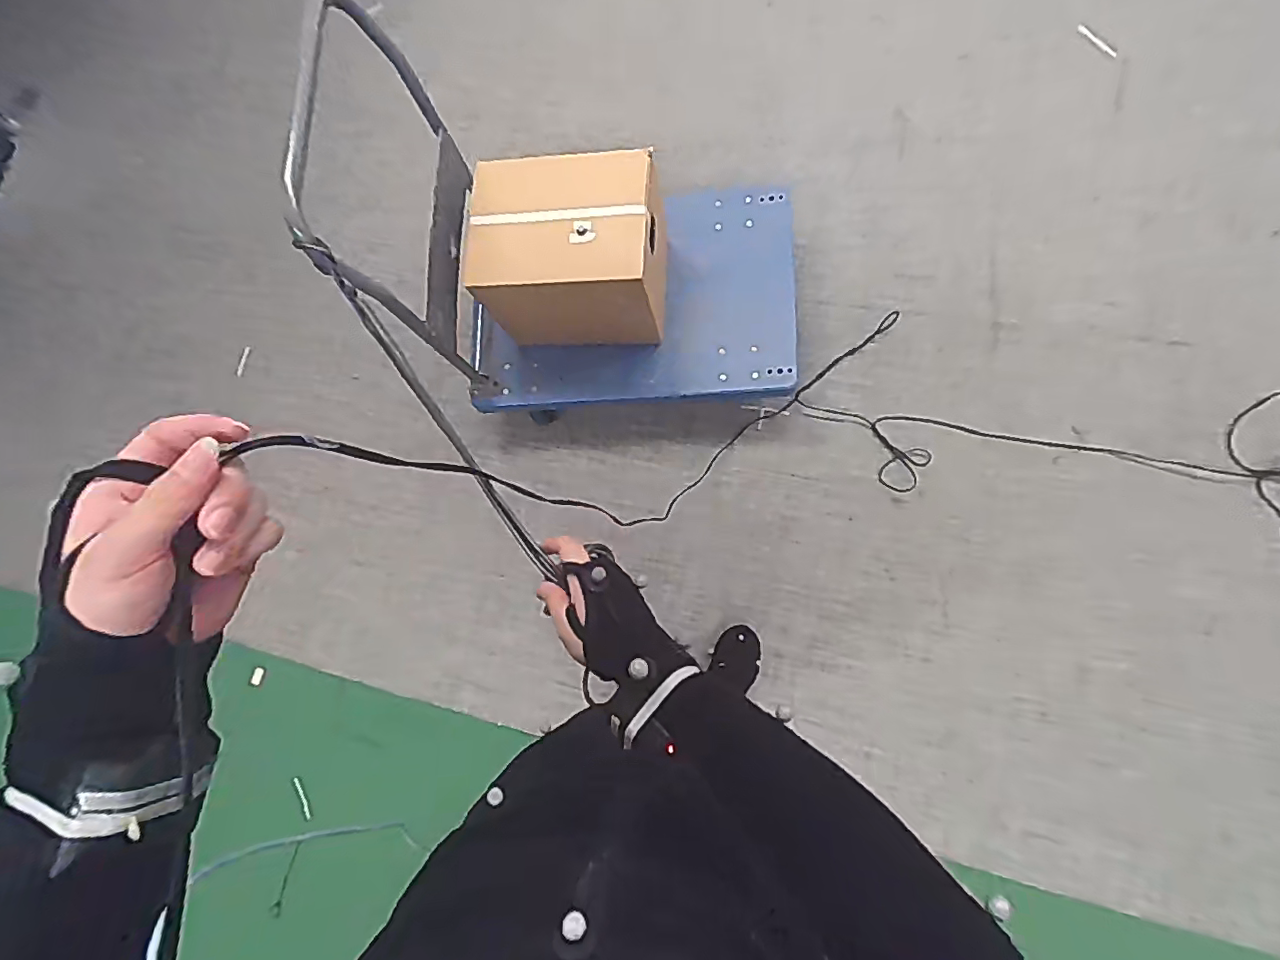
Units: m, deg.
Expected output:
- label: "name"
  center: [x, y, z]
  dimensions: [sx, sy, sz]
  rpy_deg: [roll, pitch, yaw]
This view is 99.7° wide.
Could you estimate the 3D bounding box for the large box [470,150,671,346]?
- label: "large box"
  center: [-0.144, -0.532, 1.303]
  dimensions: [0.408, 0.320, 0.320]
  rpy_deg: [1, 80, 9]
